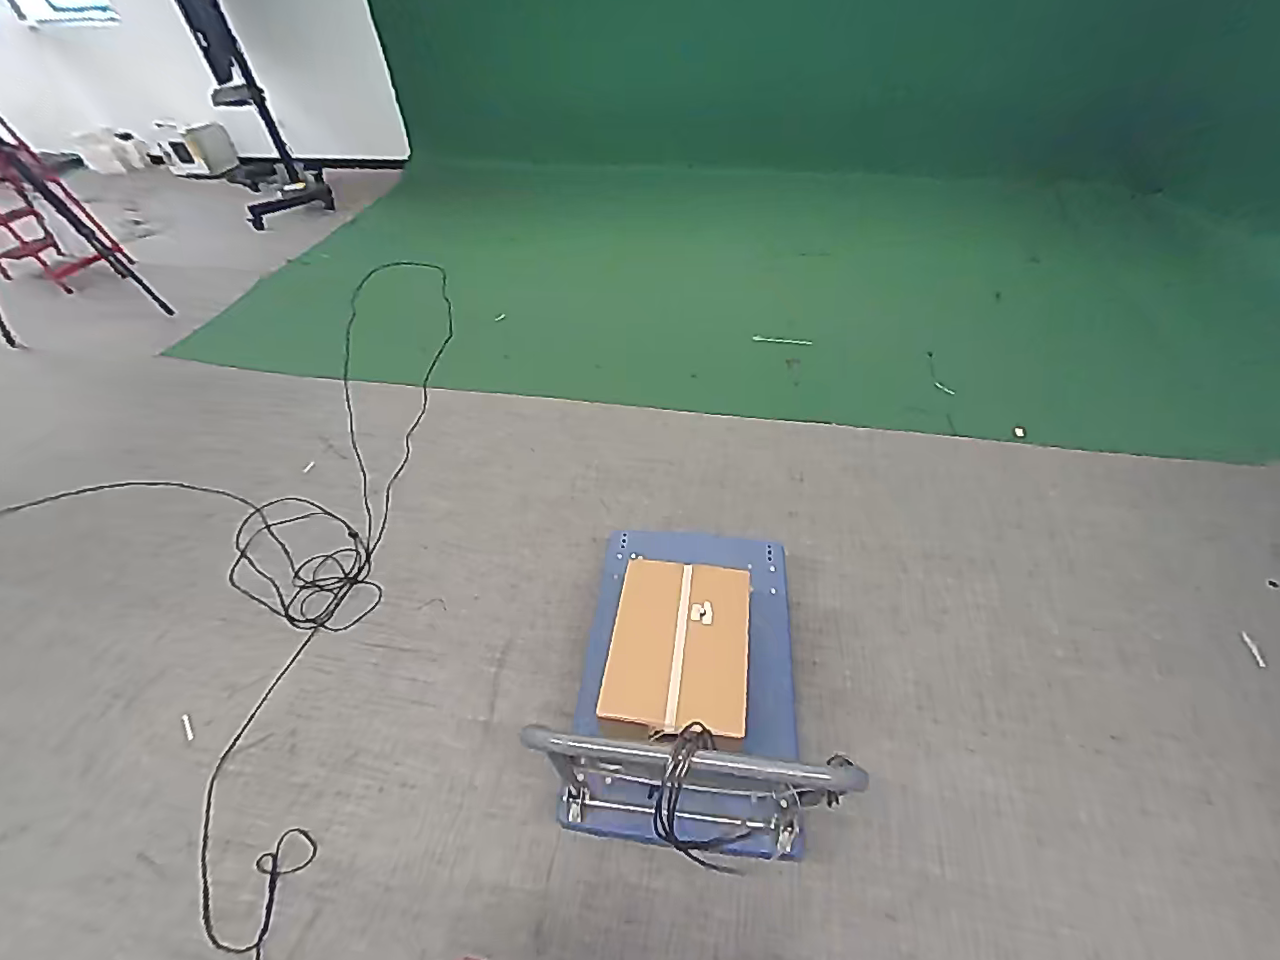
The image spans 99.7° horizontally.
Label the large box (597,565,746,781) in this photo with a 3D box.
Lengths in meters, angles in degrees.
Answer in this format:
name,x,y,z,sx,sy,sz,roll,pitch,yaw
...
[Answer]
name,x,y,z,sx,sy,sz,roll,pitch,yaw
large box,0.094,0.478,1.356,0.320,0.320,0.408,6,47,8
